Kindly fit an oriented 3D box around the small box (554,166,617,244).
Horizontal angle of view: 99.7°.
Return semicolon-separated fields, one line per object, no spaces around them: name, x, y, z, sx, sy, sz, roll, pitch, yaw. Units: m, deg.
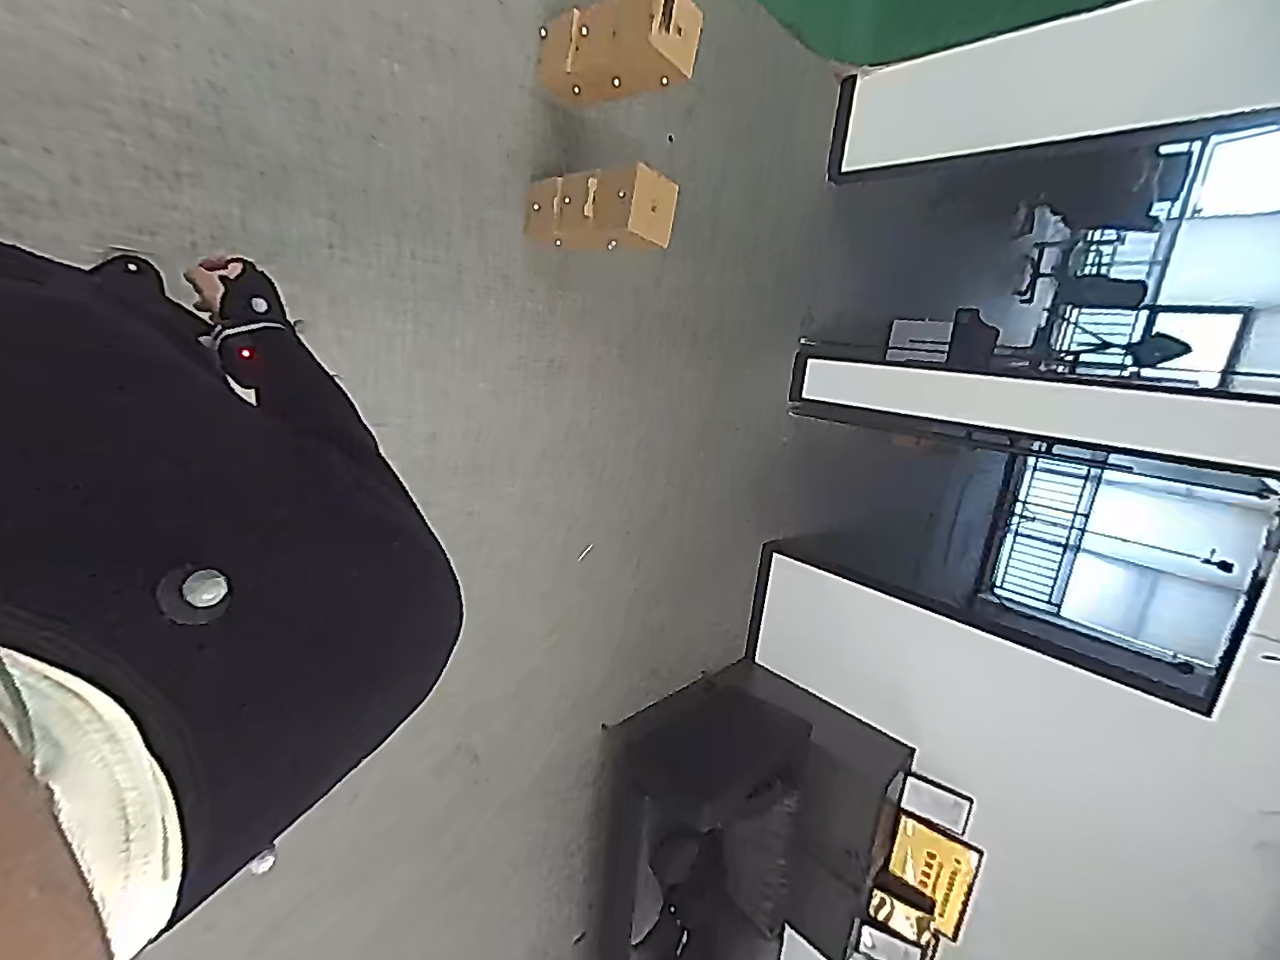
small box;-0.137;-0.839;1.668;0.179;0.176;0.168;1;103;-47

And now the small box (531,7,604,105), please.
small box;-0.217;-1.305;1.684;0.179;0.176;0.168;-1;106;-47

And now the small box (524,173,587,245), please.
small box;-0.260;-0.878;1.771;0.179;0.176;0.168;-4;108;-45

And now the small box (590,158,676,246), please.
small box;-0.024;-0.792;1.560;0.168;0.176;0.179;1;103;-46

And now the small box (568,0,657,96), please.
small box;-0.082;-1.257;1.576;0.179;0.176;0.168;0;105;-46
